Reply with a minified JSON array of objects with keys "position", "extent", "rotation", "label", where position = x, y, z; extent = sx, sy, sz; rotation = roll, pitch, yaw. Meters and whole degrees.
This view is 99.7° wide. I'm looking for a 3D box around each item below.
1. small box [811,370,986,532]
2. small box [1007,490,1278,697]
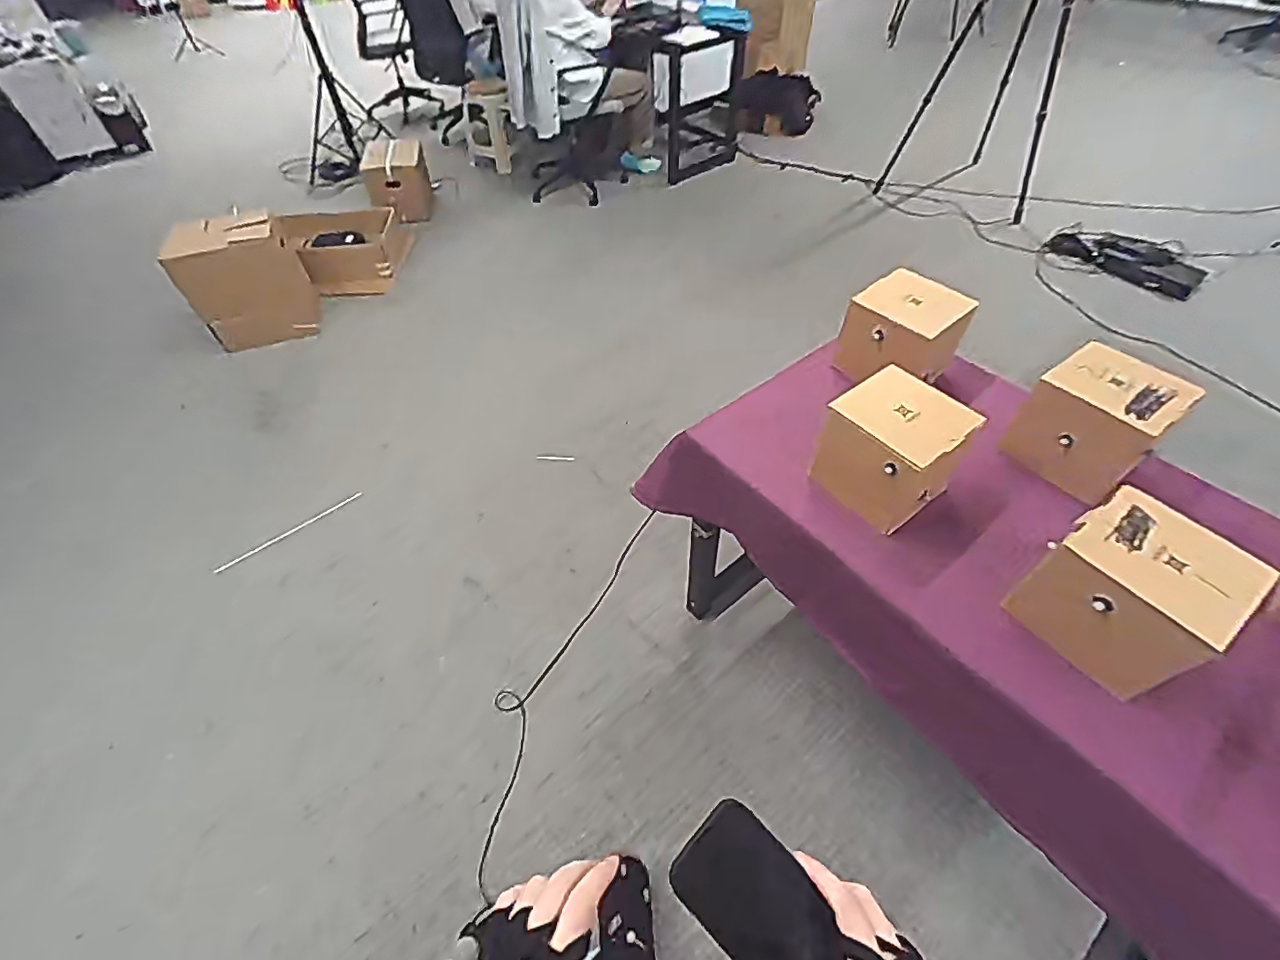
[{"position":[0.414,-0.047,0.898],"extent":[0.168,0.176,0.179],"rotation":[-31,56,-22],"label":"small box"},{"position":[0.644,0.152,0.719],"extent":[0.168,0.176,0.179],"rotation":[-29,56,-20],"label":"small box"}]
